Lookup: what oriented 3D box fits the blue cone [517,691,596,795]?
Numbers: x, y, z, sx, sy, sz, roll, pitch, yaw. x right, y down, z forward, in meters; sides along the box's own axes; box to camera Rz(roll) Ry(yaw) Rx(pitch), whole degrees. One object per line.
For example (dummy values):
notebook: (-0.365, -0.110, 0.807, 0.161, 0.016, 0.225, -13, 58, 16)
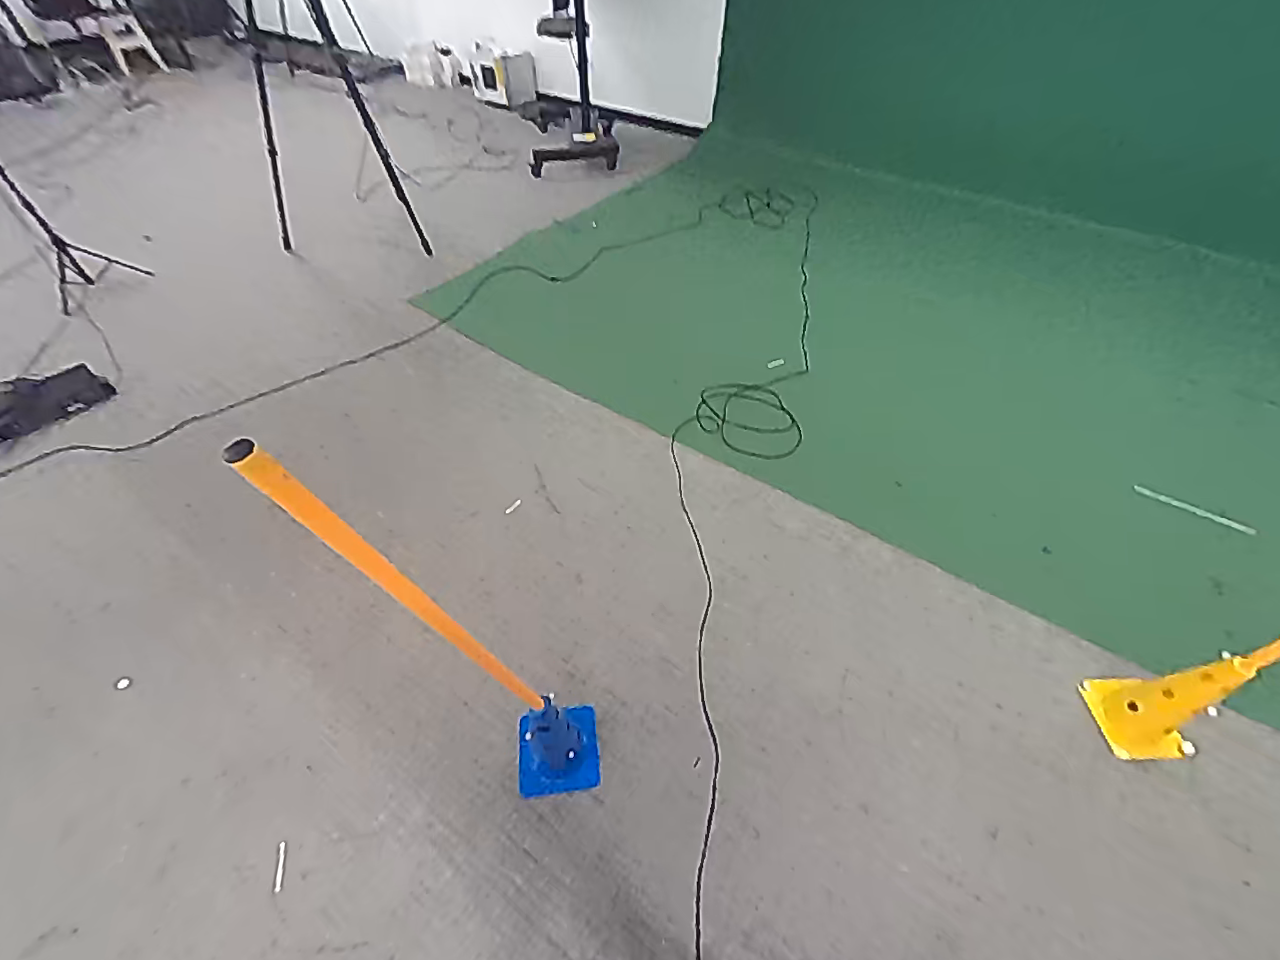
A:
blue cone: (-0.212, 0.569, 1.226, 0.193, 0.380, 0.192, -8, 51, -5)
